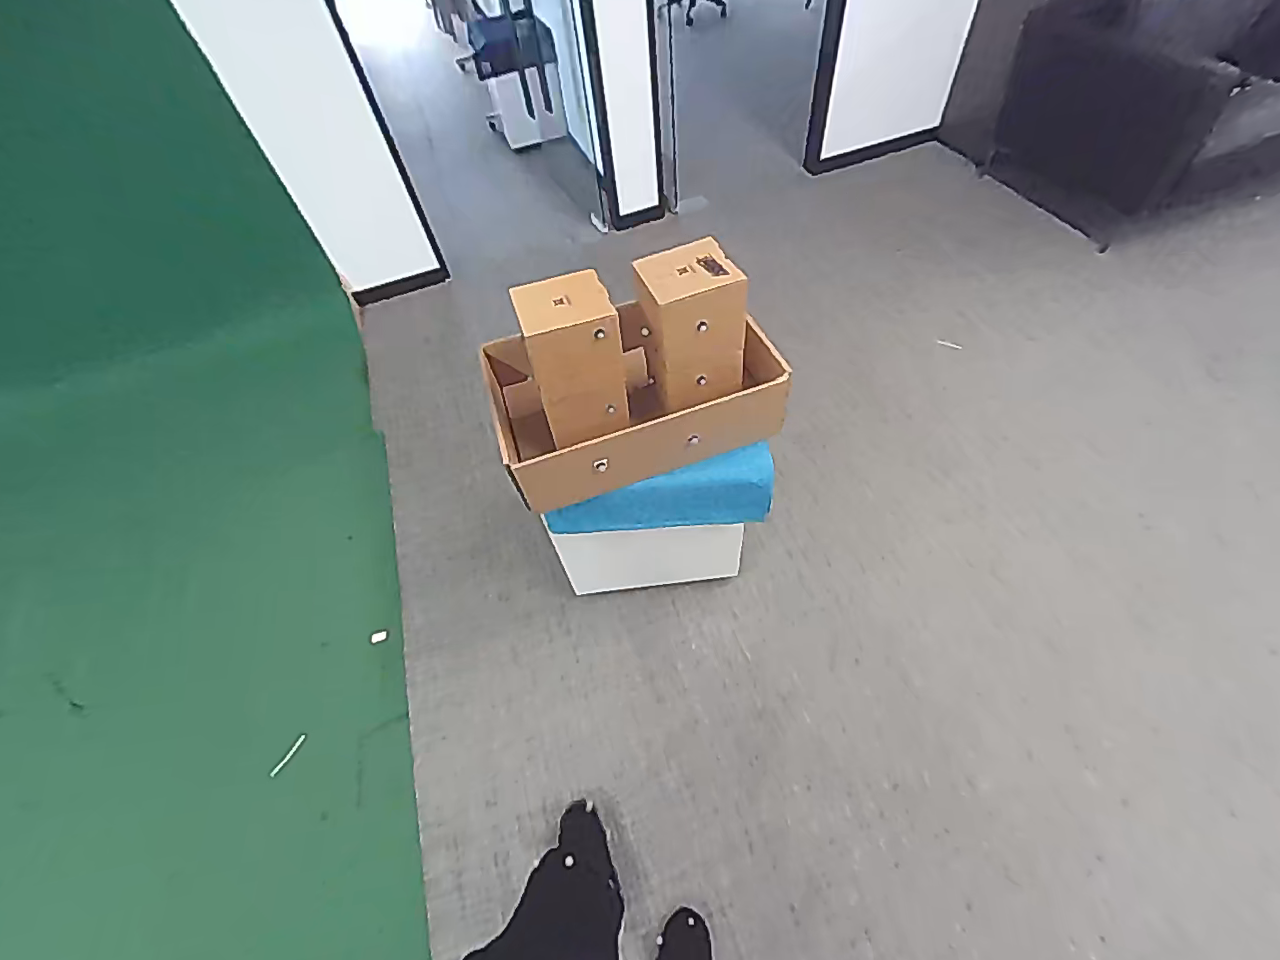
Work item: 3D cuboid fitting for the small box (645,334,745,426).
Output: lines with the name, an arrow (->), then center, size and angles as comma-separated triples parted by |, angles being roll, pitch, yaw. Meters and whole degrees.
small box -> 0.126, -0.246, 1.217 | 0.179, 0.176, 0.168 | -18, 52, -5

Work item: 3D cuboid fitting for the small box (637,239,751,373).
small box -> 0.107, -0.347, 1.090 | 0.179, 0.176, 0.168 | -20, 52, -5
